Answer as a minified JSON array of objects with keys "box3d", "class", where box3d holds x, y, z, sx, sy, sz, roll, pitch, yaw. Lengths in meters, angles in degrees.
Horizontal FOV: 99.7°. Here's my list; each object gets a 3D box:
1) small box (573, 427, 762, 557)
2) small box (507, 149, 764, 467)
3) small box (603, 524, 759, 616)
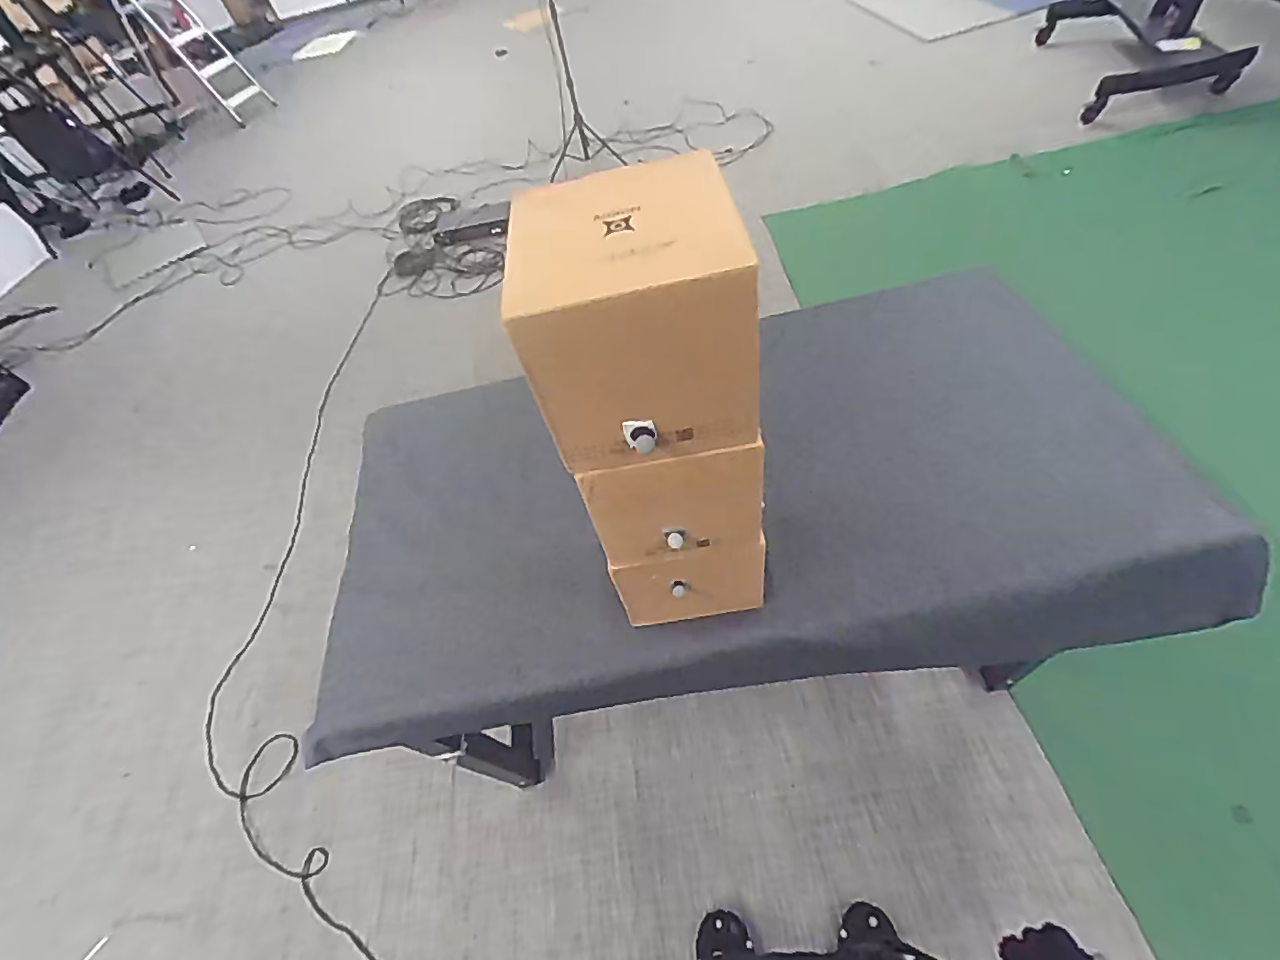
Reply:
[{"box3d":[0.029,-0.039,0.576,0.168,0.176,0.179,-8,53,5],"class":"small box"},{"box3d":[0.001,-0.137,0.450,0.168,0.176,0.179,-10,53,5],"class":"small box"},{"box3d":[0.053,0.063,0.703,0.179,0.176,0.168,-9,53,4],"class":"small box"}]
